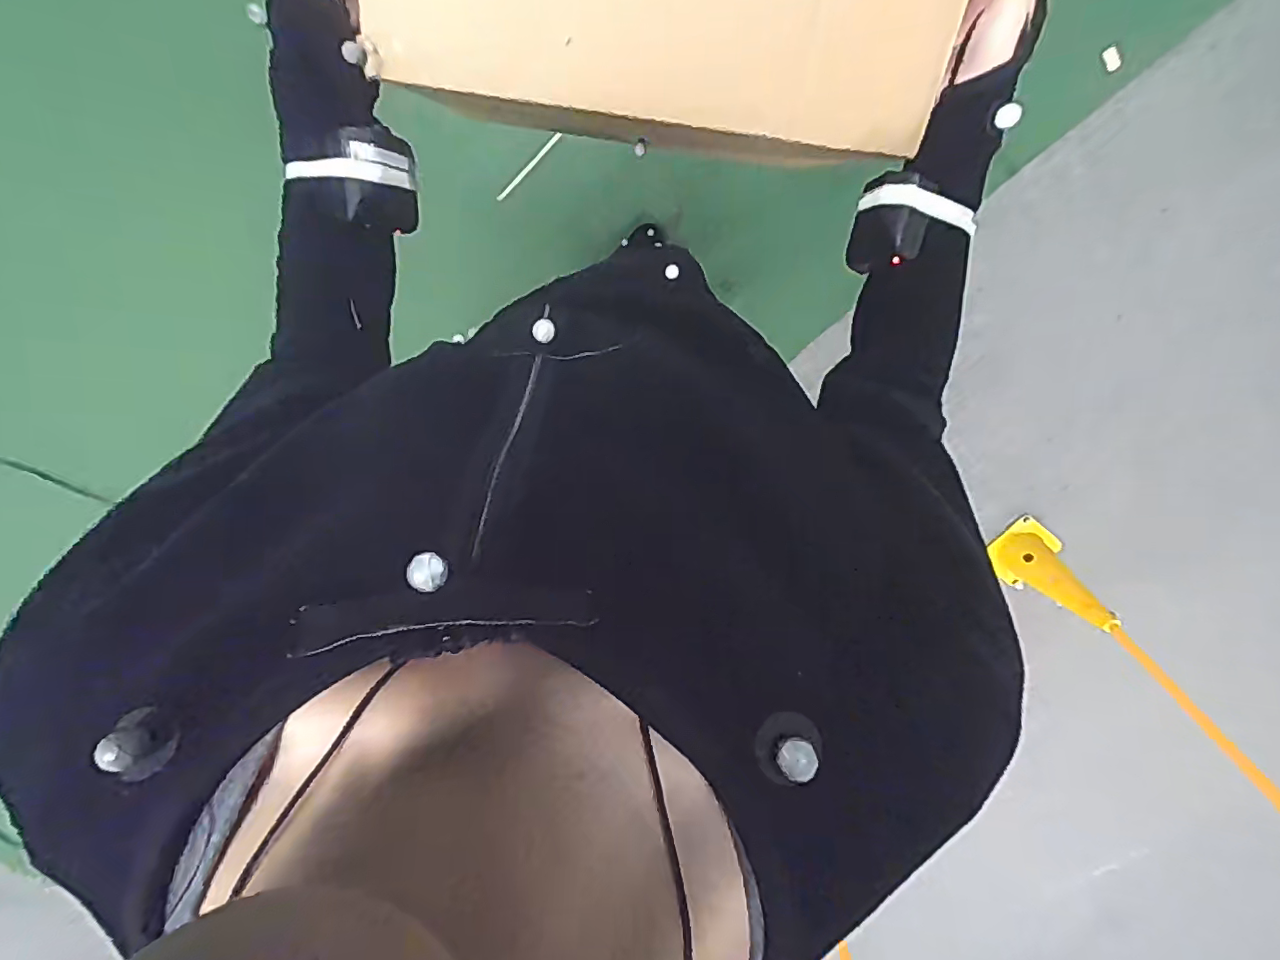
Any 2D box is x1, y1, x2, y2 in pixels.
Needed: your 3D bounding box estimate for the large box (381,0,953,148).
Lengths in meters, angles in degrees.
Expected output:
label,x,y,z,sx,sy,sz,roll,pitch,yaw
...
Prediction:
label,x,y,z,sx,sy,sz,roll,pitch,yaw
large box,0.027,-0.483,0.460,0.408,0.320,0.320,4,119,-6
